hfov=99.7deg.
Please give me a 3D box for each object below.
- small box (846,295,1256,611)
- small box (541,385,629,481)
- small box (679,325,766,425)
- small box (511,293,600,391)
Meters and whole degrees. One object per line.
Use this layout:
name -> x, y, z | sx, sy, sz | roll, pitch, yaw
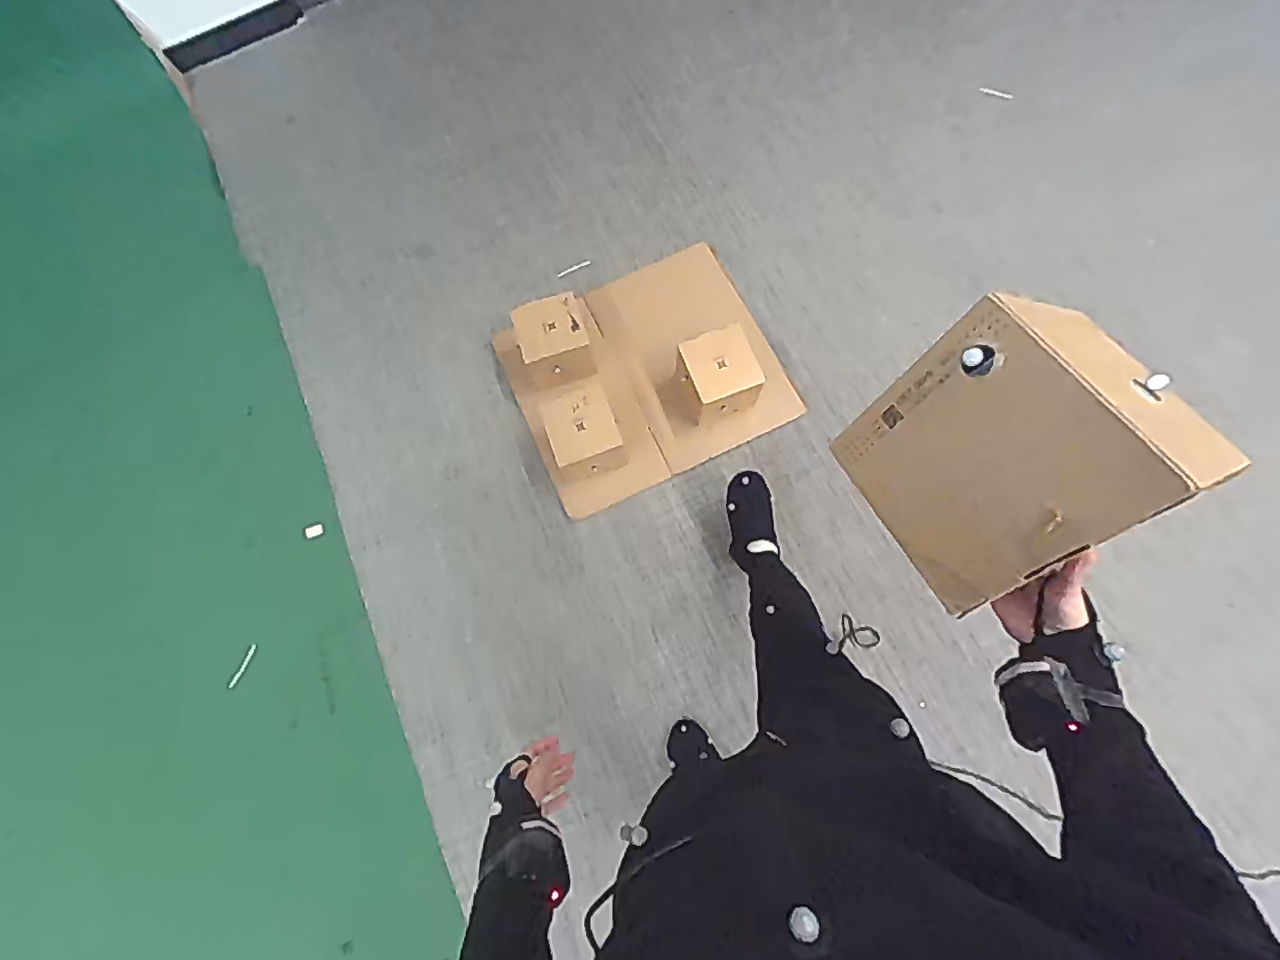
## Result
small box -> 0.305, -0.025, 0.429 | 0.179, 0.168, 0.176 | -8, 57, -35
small box -> -0.134, -0.108, 1.373 | 0.168, 0.176, 0.179 | -20, 74, -2
small box -> 0.206, -0.257, 1.387 | 0.168, 0.176, 0.179 | -21, 74, -2
small box -> -0.220, -0.361, 1.447 | 0.179, 0.176, 0.168 | -19, 74, -1
